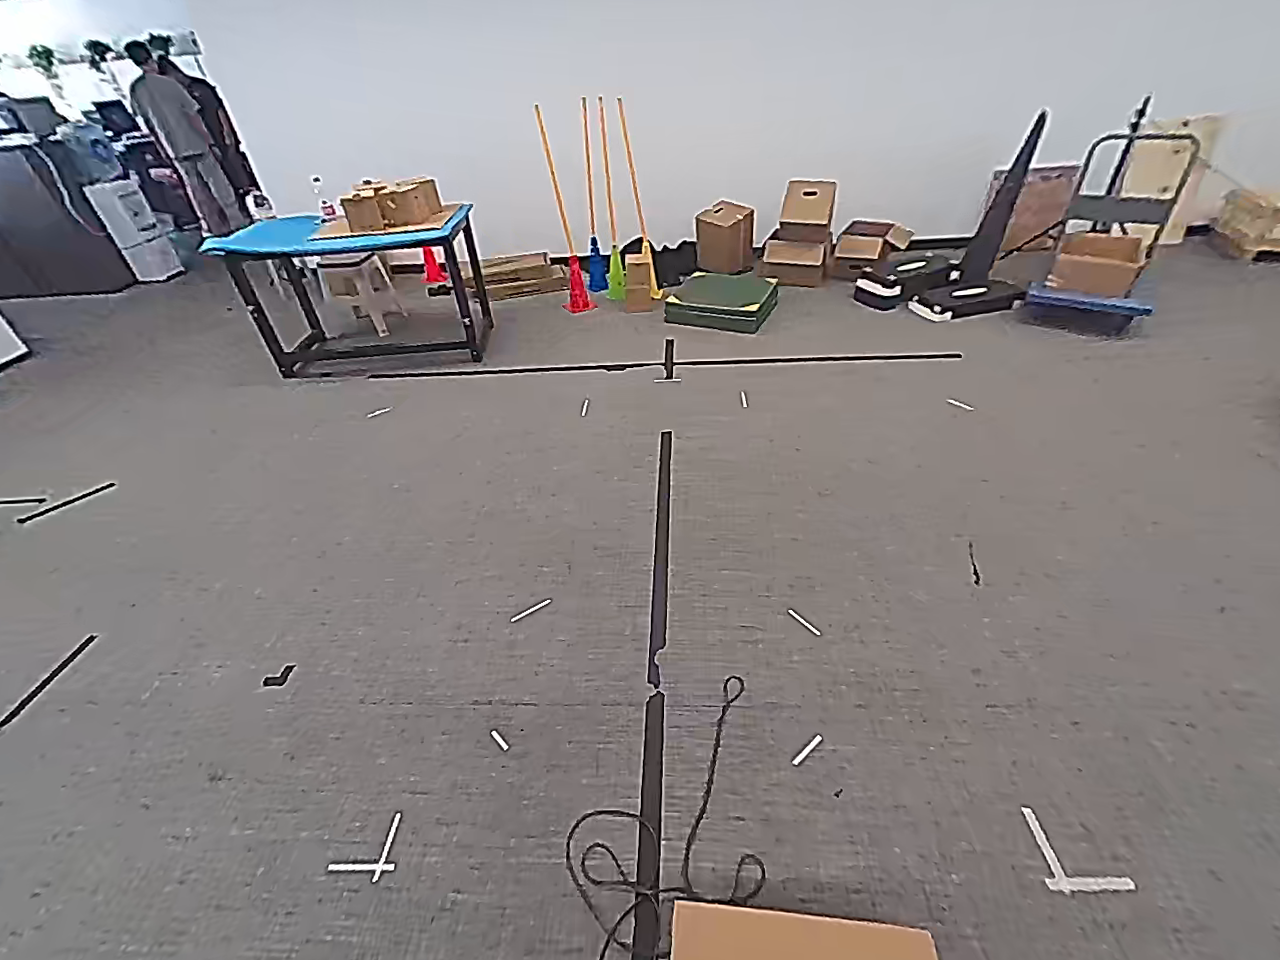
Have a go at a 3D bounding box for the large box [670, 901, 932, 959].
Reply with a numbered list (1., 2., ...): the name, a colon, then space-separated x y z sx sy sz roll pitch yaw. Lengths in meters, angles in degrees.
1. large box: 0.244 0.915 0.849 0.408 0.320 0.320 2 39 7
